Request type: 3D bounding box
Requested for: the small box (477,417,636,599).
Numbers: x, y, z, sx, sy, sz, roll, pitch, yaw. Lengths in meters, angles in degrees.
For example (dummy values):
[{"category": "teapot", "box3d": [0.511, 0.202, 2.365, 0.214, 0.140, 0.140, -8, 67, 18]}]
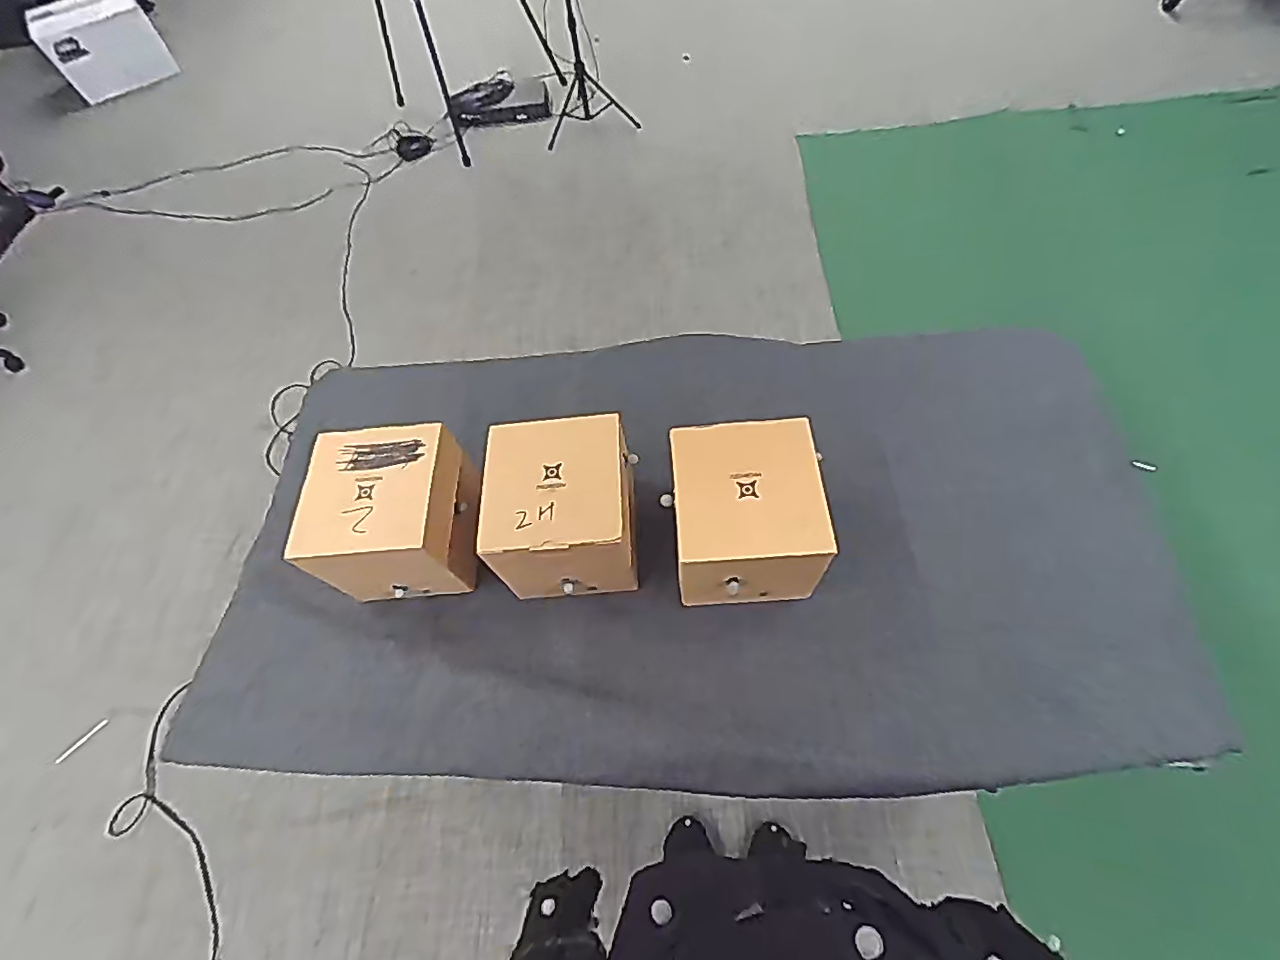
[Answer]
[{"category": "small box", "box3d": [-0.096, 0.042, 0.703, 0.168, 0.176, 0.179, -5, 60, 4]}]
